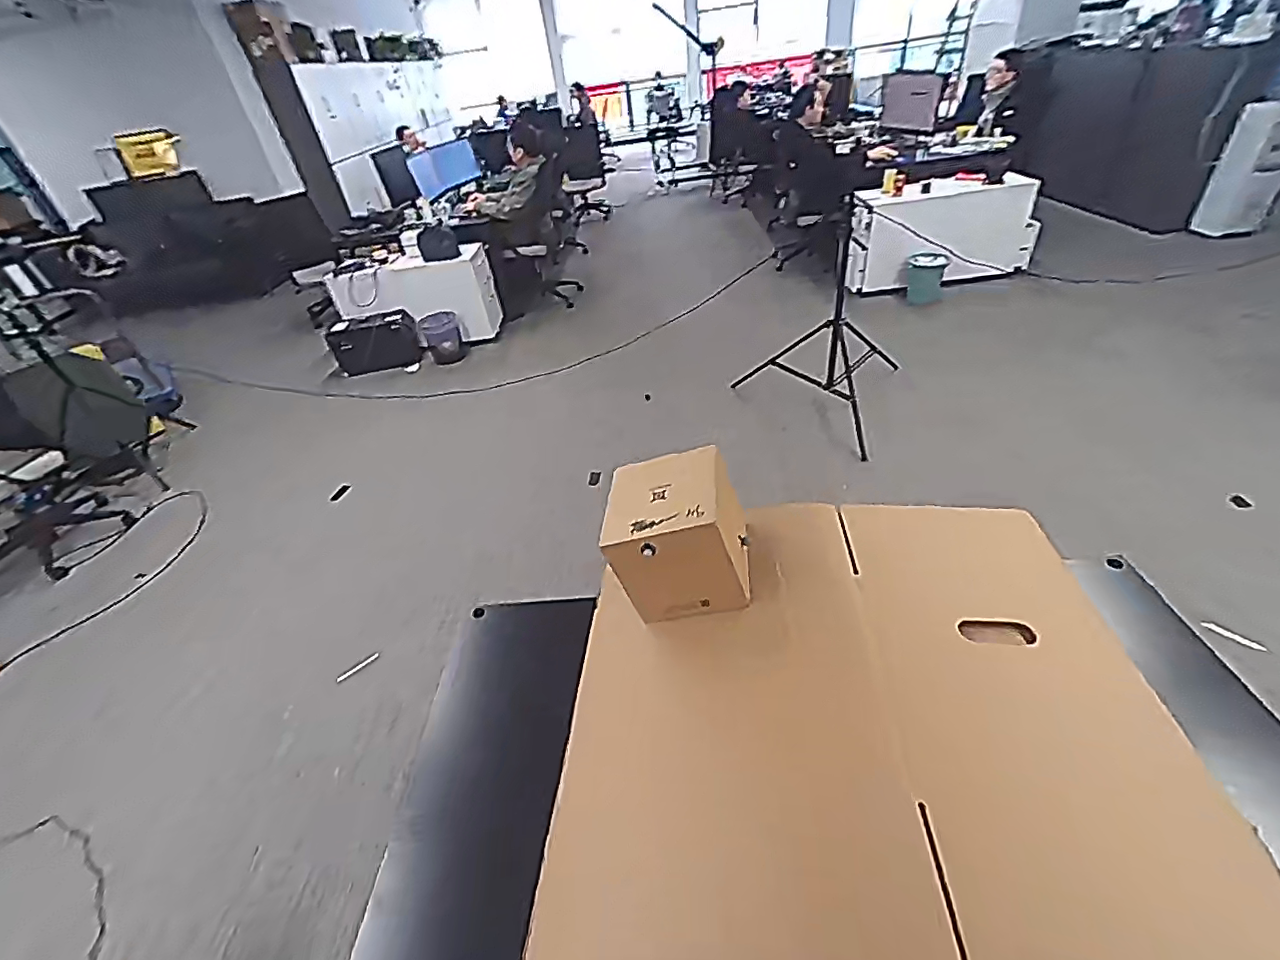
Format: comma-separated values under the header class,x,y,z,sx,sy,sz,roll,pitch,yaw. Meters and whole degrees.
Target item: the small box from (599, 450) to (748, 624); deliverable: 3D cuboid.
class,x,y,z,sx,sy,sz,roll,pitch,yaw
small box,0.058,0.085,0.803,0.168,0.176,0.179,-15,34,18
